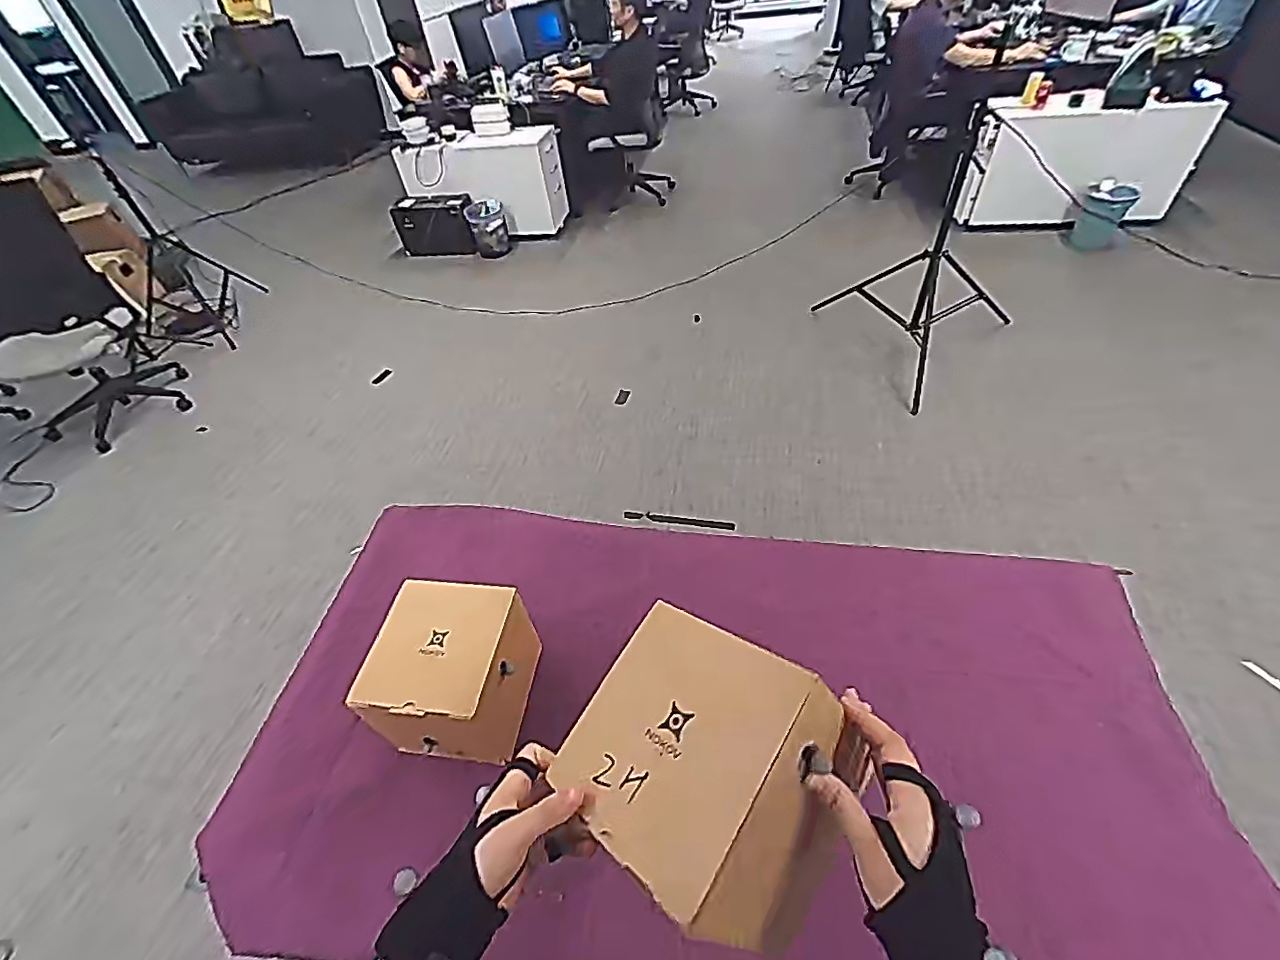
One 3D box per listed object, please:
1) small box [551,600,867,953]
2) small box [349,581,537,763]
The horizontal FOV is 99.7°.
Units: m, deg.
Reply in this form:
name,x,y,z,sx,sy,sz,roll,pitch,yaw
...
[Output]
name,x,y,z,sx,sy,sz,roll,pitch,yaw
small box,0.068,0.236,0.450,0.168,0.176,0.179,11,58,48
small box,-0.250,0.262,0.743,0.168,0.176,0.179,3,48,9
